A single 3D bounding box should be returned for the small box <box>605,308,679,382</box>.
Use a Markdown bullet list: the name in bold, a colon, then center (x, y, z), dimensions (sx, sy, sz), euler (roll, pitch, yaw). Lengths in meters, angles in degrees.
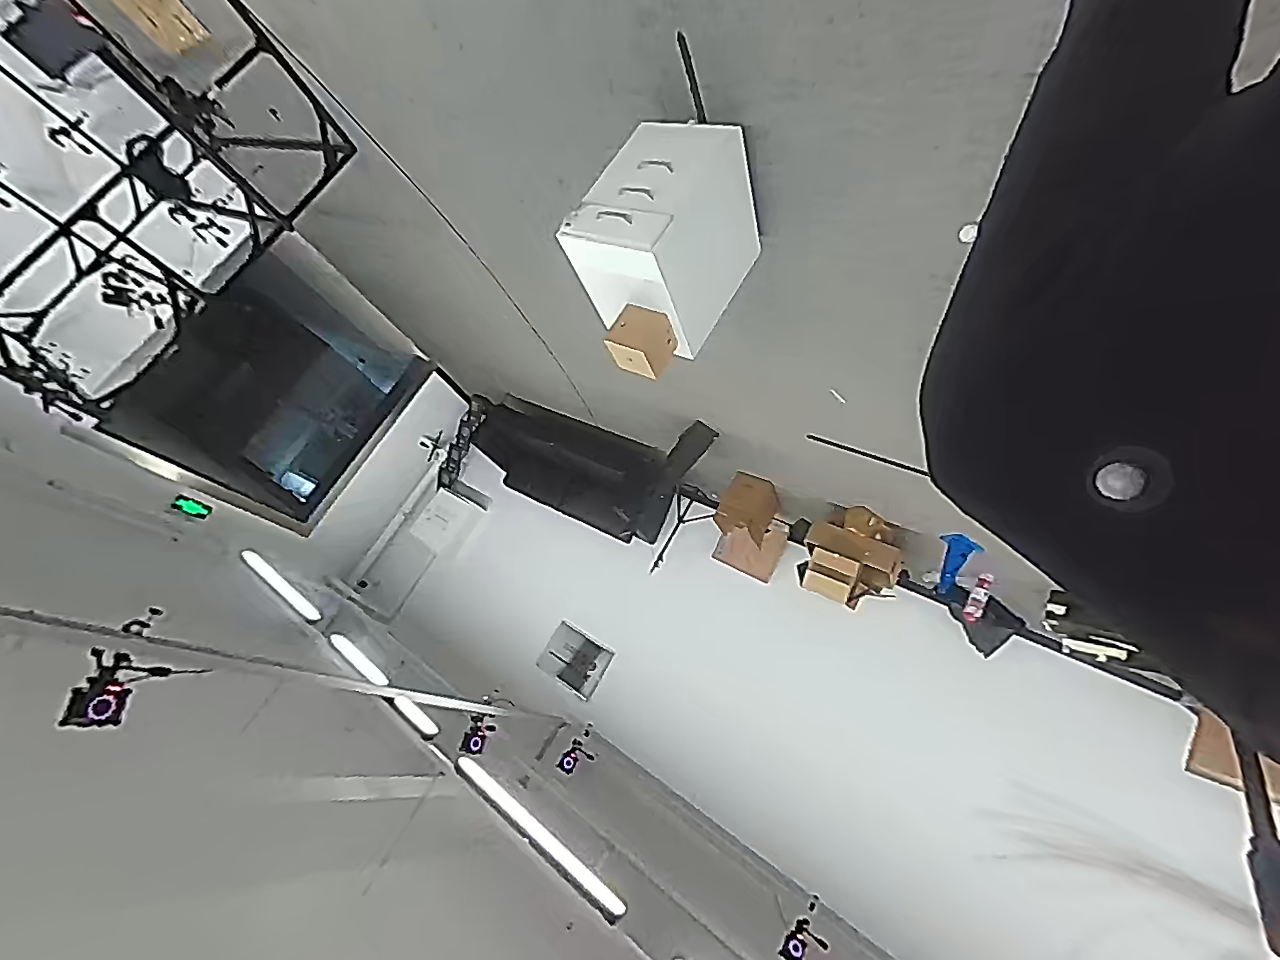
- **small box**: center (0.011, -0.481, 1.908), dimensions (0.179, 0.176, 0.168), euler (25, 165, 28)
